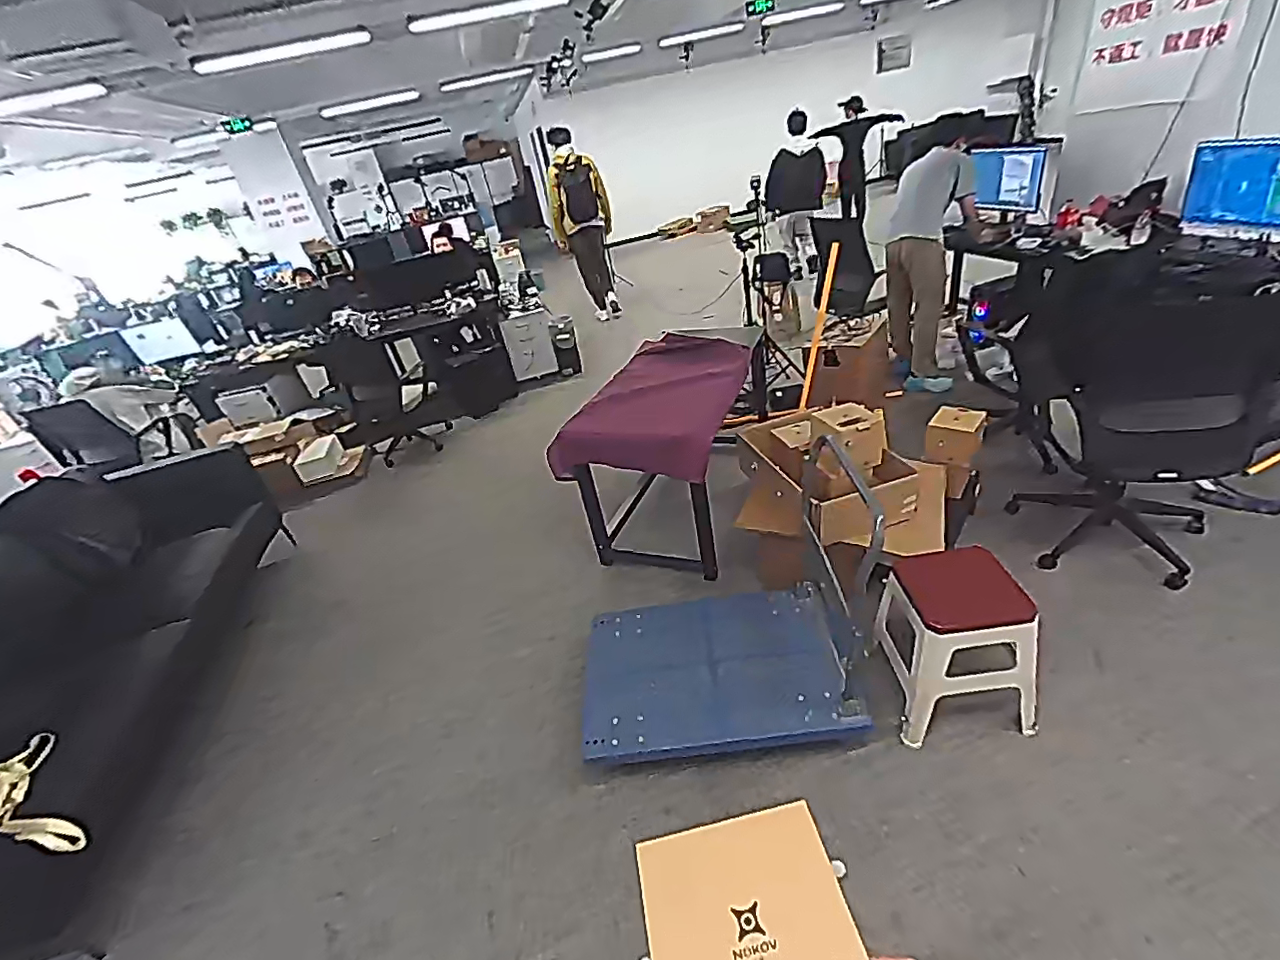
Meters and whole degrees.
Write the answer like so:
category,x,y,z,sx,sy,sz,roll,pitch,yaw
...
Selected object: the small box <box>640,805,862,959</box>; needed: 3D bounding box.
category,x,y,z,sx,sy,sz,roll,pitch,yaw
small box,0.102,0.436,0.483,0.168,0.176,0.179,-13,33,-1
